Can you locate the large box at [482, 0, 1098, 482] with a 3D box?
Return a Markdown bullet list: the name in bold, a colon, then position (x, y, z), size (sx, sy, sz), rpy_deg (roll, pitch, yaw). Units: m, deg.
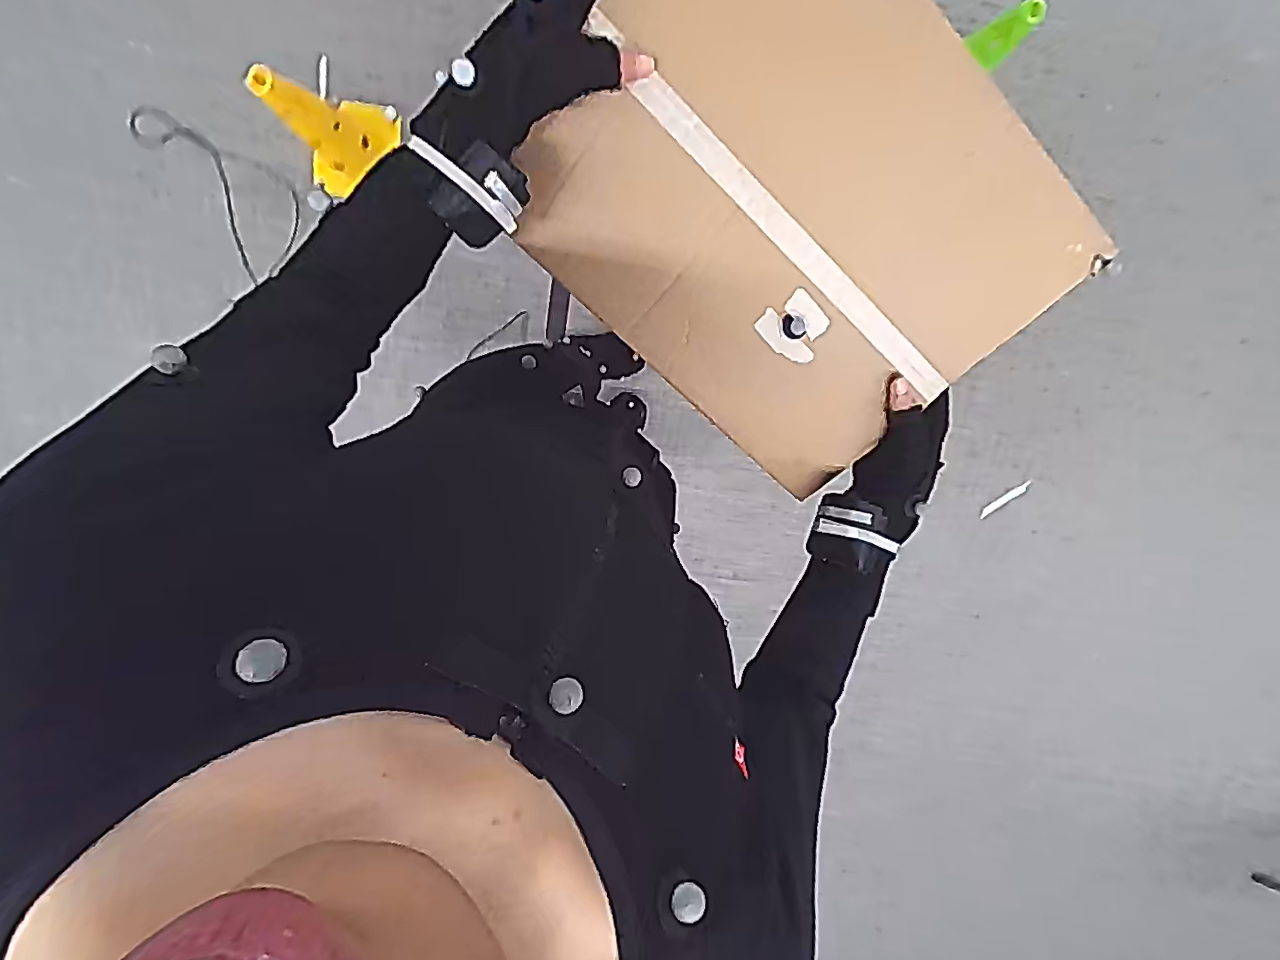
- **large box**: position (0.125, -0.281, 0.568), size (0.408, 0.320, 0.320), rpy_deg (39, 116, -14)
